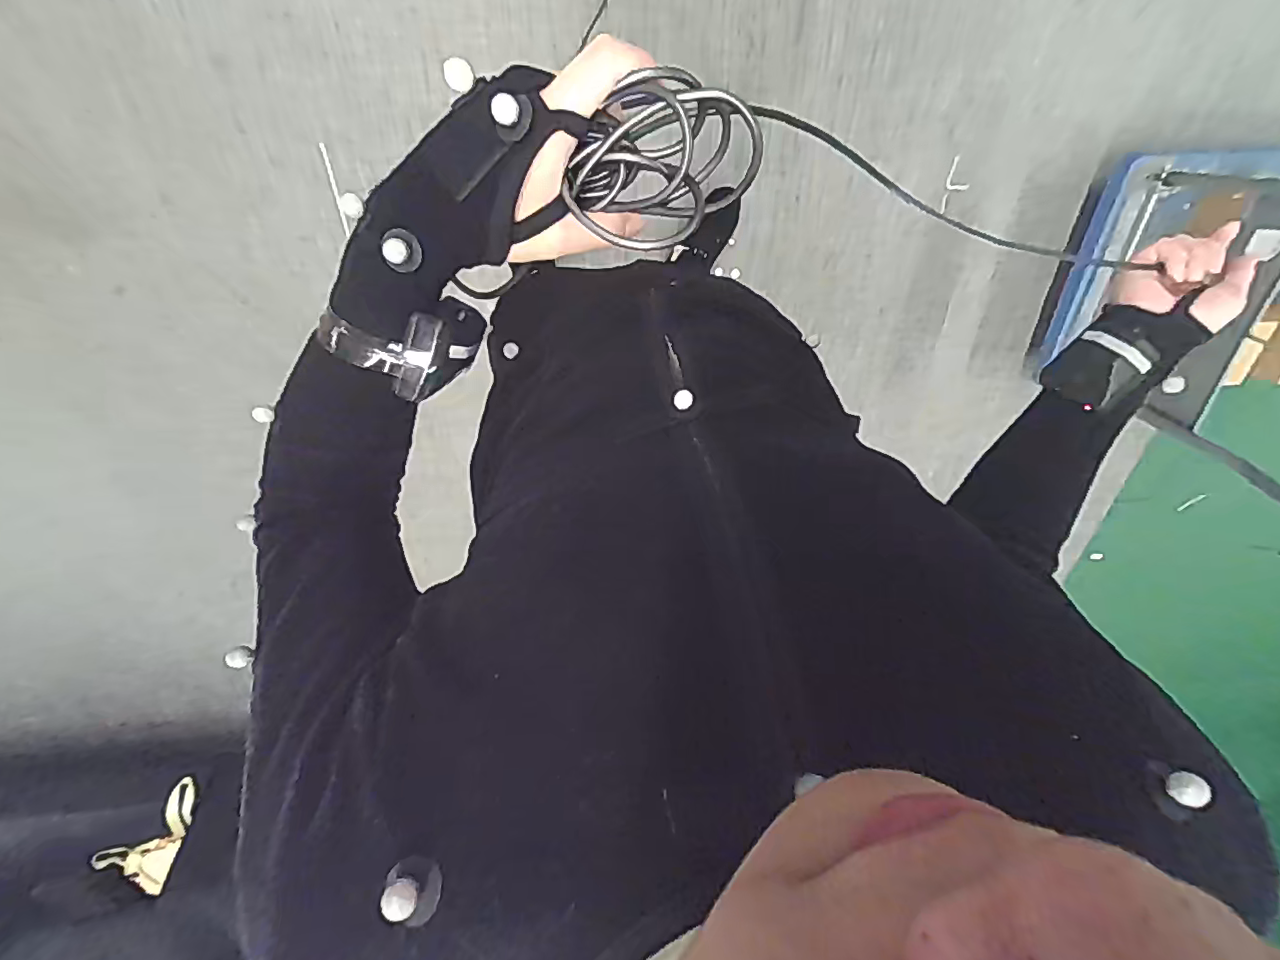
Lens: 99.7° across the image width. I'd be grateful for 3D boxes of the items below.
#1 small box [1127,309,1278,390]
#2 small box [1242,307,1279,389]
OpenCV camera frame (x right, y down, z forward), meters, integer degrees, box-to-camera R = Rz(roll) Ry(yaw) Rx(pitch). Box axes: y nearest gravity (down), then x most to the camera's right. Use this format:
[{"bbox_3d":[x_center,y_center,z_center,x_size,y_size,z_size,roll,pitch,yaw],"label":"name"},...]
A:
[{"bbox_3d":[1.444,-0.342,1.402,0.179,0.176,0.168,-1,122,-3],"label":"small box"},{"bbox_3d":[1.713,-0.353,1.418,0.179,0.176,0.168,-5,122,-1],"label":"small box"}]
